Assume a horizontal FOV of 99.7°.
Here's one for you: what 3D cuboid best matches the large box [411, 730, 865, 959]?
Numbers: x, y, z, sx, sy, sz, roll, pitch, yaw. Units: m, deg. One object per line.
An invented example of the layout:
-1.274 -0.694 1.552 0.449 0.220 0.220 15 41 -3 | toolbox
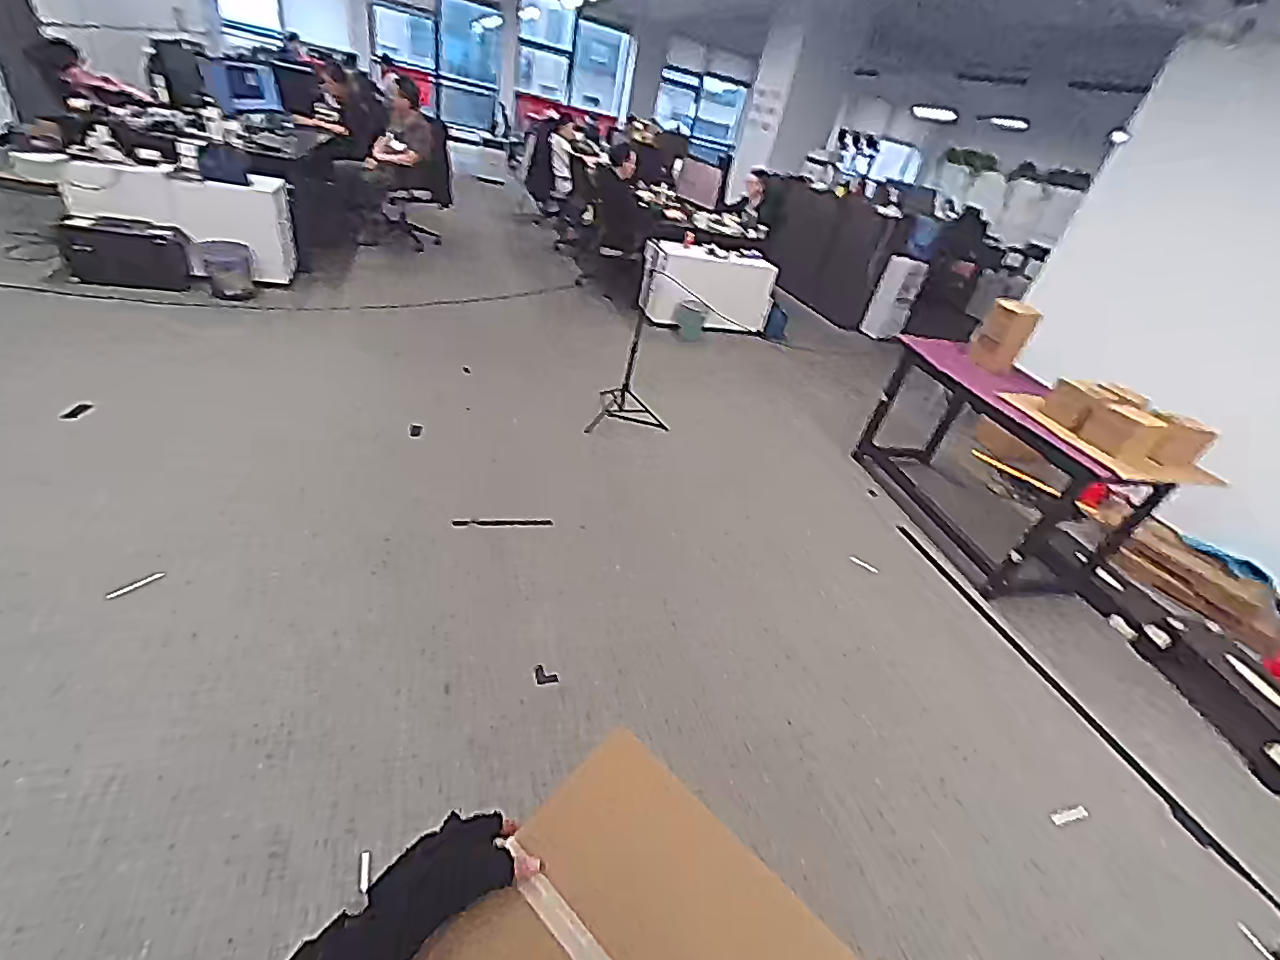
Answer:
0.004 0.551 0.532 0.408 0.320 0.320 37 49 22 | large box
